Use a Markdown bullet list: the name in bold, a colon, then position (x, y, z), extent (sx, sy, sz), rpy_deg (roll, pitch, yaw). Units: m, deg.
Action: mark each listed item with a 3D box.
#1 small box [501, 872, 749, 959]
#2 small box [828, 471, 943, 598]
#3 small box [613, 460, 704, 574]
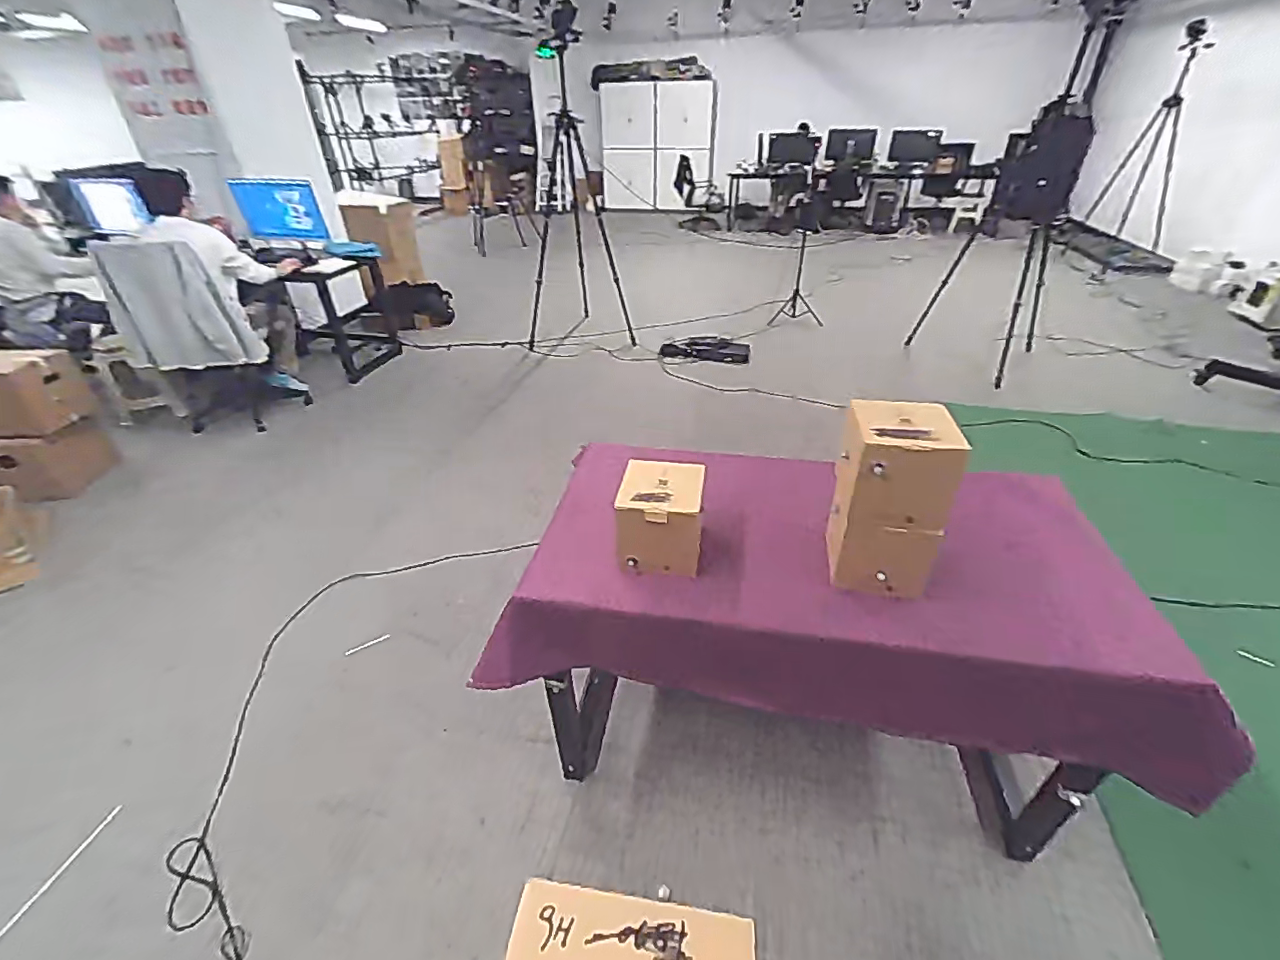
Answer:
- **small box**: position (-0.016, 0.410, 0.376), extent (0.168, 0.176, 0.179), rpy_deg (5, 42, 6)
- **small box**: position (0.473, 0.104, 1.073), extent (0.168, 0.176, 0.179), rpy_deg (6, 35, 12)
- **small box**: position (0.045, 0.077, 1.133), extent (0.168, 0.176, 0.179), rpy_deg (5, 34, 8)
